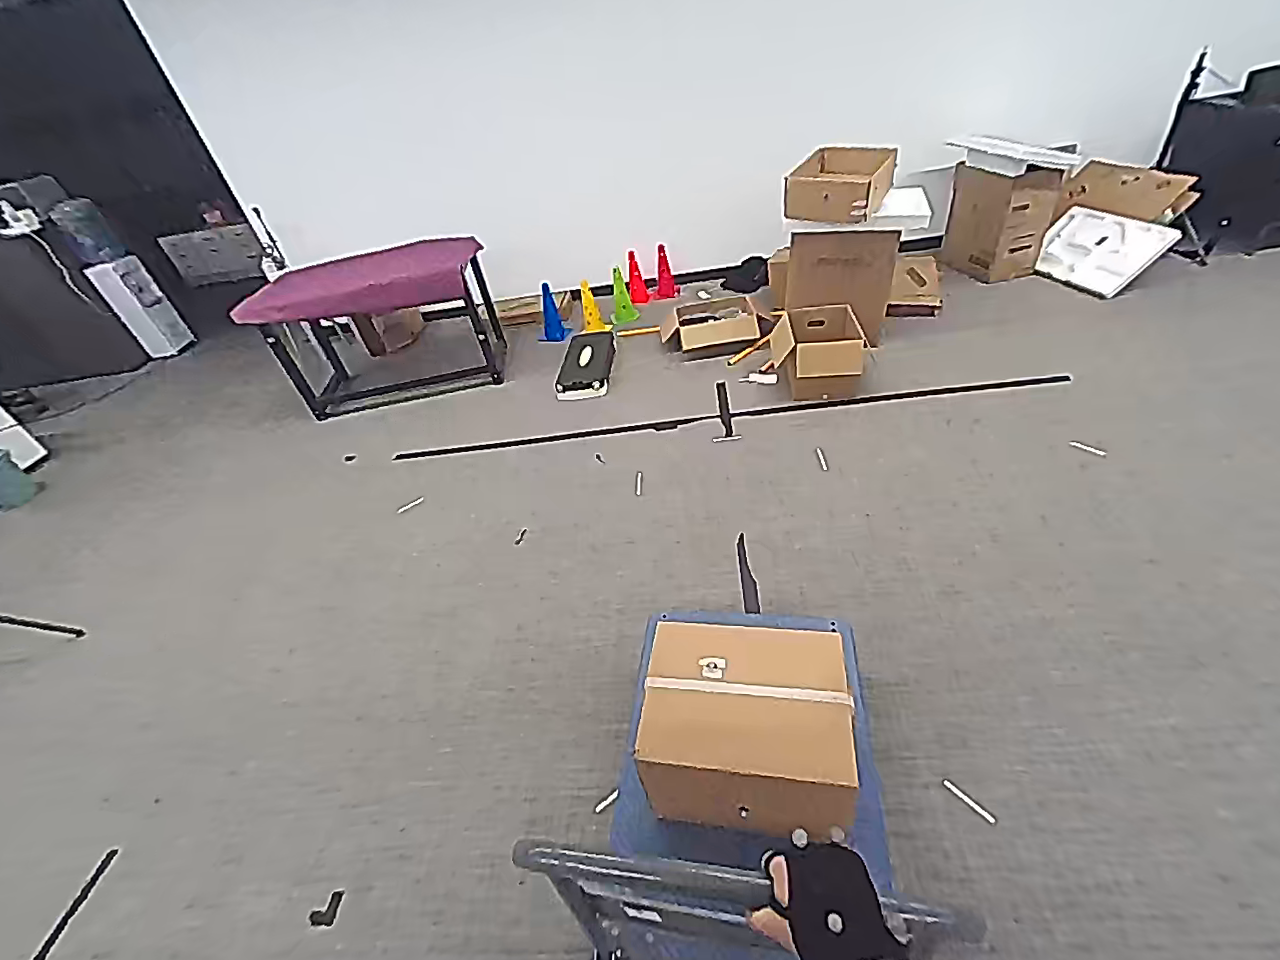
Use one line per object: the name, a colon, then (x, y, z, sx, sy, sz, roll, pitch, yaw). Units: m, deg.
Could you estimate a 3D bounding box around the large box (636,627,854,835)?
large box: (0.234, 0.549, 1.200, 0.408, 0.320, 0.320, -1, 39, 14)
